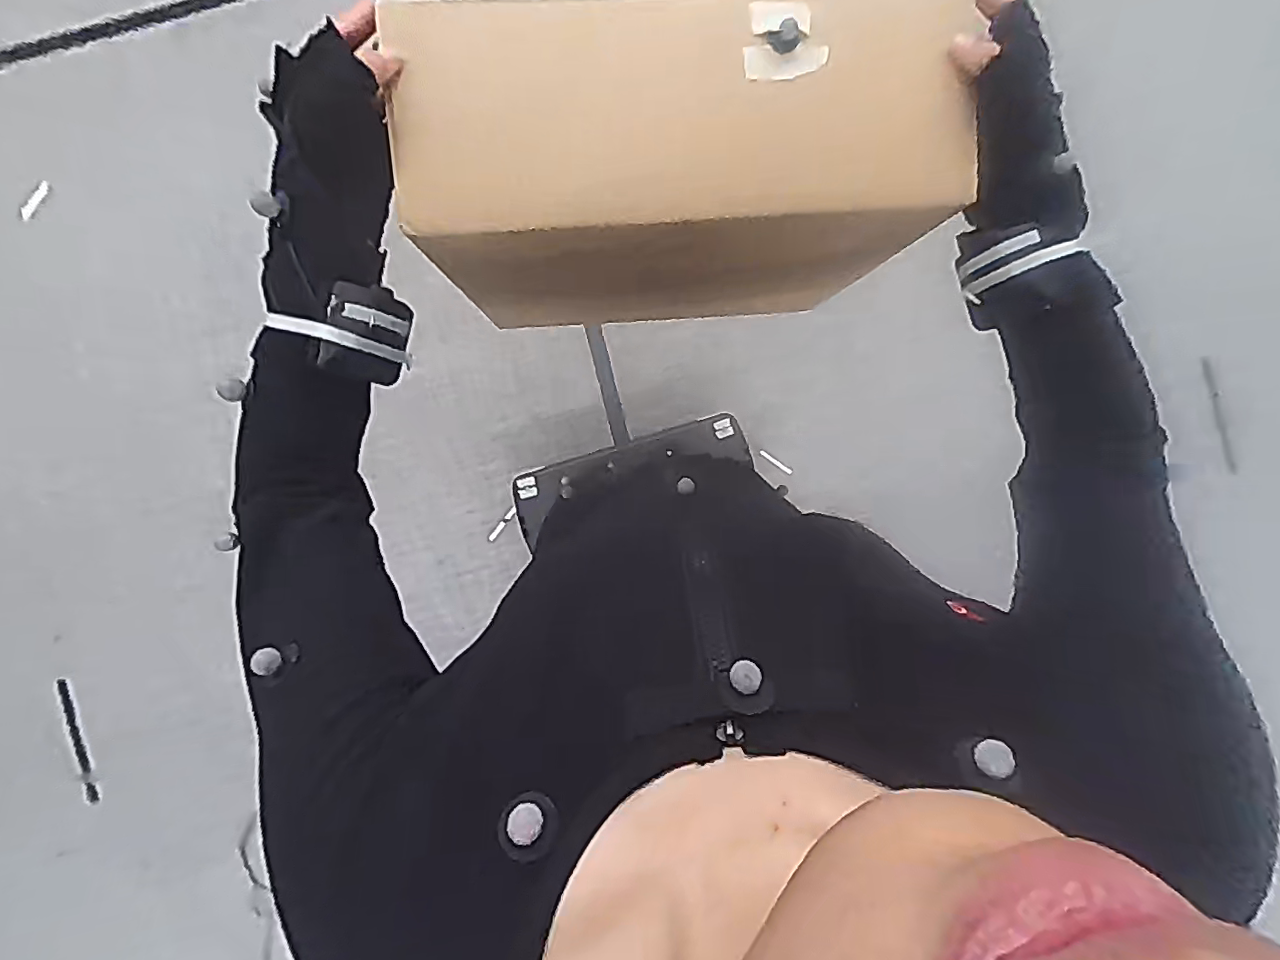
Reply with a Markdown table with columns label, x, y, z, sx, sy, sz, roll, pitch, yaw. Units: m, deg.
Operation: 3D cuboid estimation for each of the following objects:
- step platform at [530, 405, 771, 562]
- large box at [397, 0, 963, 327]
| label | x | y | z | sx | sy | sz | roll | pitch | yaw |
| --- | --- | --- | --- | --- | --- | --- | --- | --- | --- |
| step platform | 0.029 | 0.008 | 1.580 | 0.684 | 0.204 | 0.286 | -18 | 92 | -1 |
| large box | 0.019 | -0.351 | 0.528 | 0.408 | 0.320 | 0.320 | -5 | 95 | -3 |
